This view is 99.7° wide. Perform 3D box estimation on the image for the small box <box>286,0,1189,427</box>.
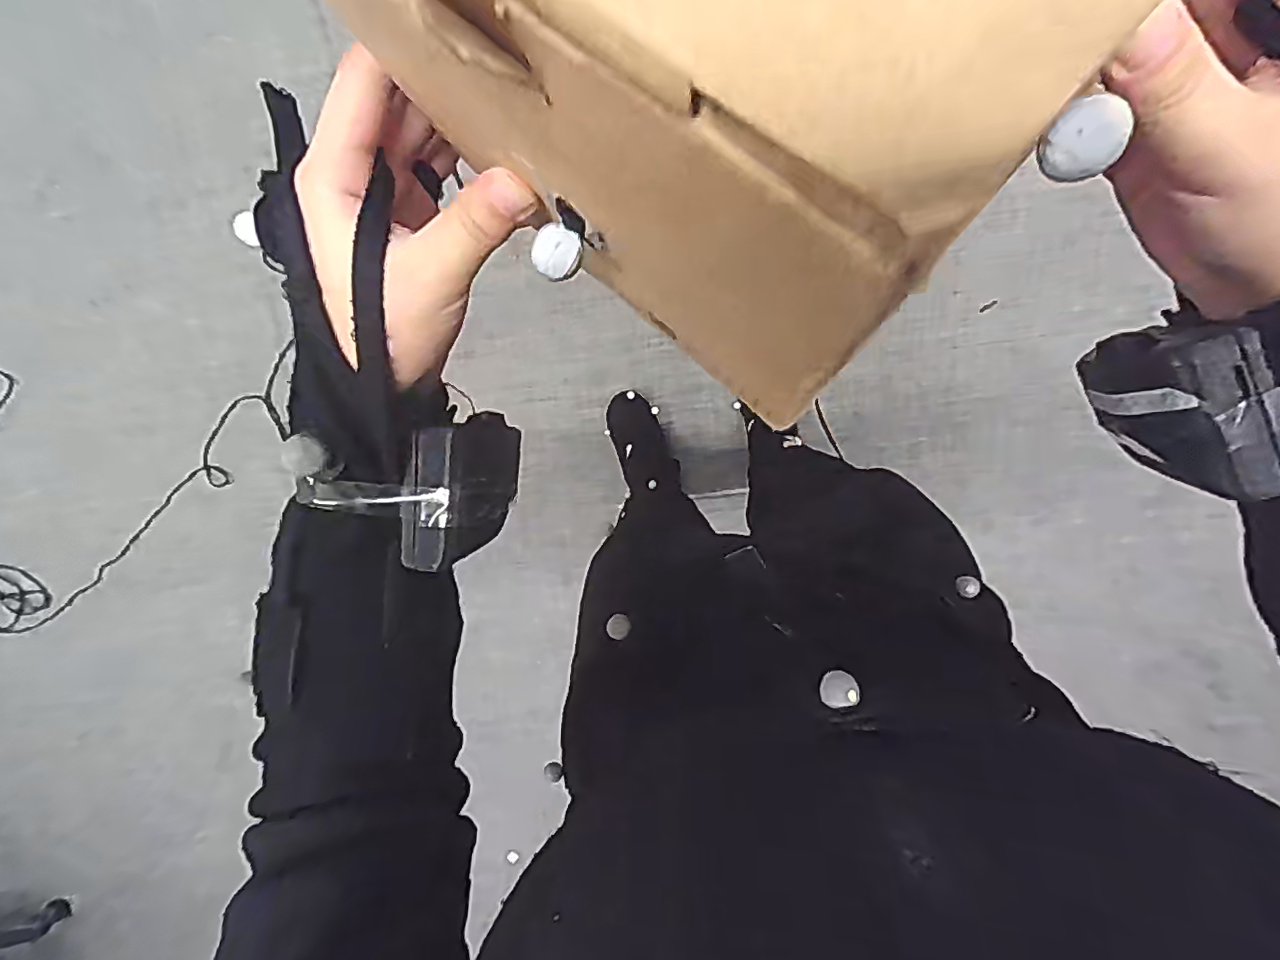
[{"bbox_3d":[0.035,-0.130,0.142,0.168,0.176,0.179,41,98,8],"label":"small box"}]
